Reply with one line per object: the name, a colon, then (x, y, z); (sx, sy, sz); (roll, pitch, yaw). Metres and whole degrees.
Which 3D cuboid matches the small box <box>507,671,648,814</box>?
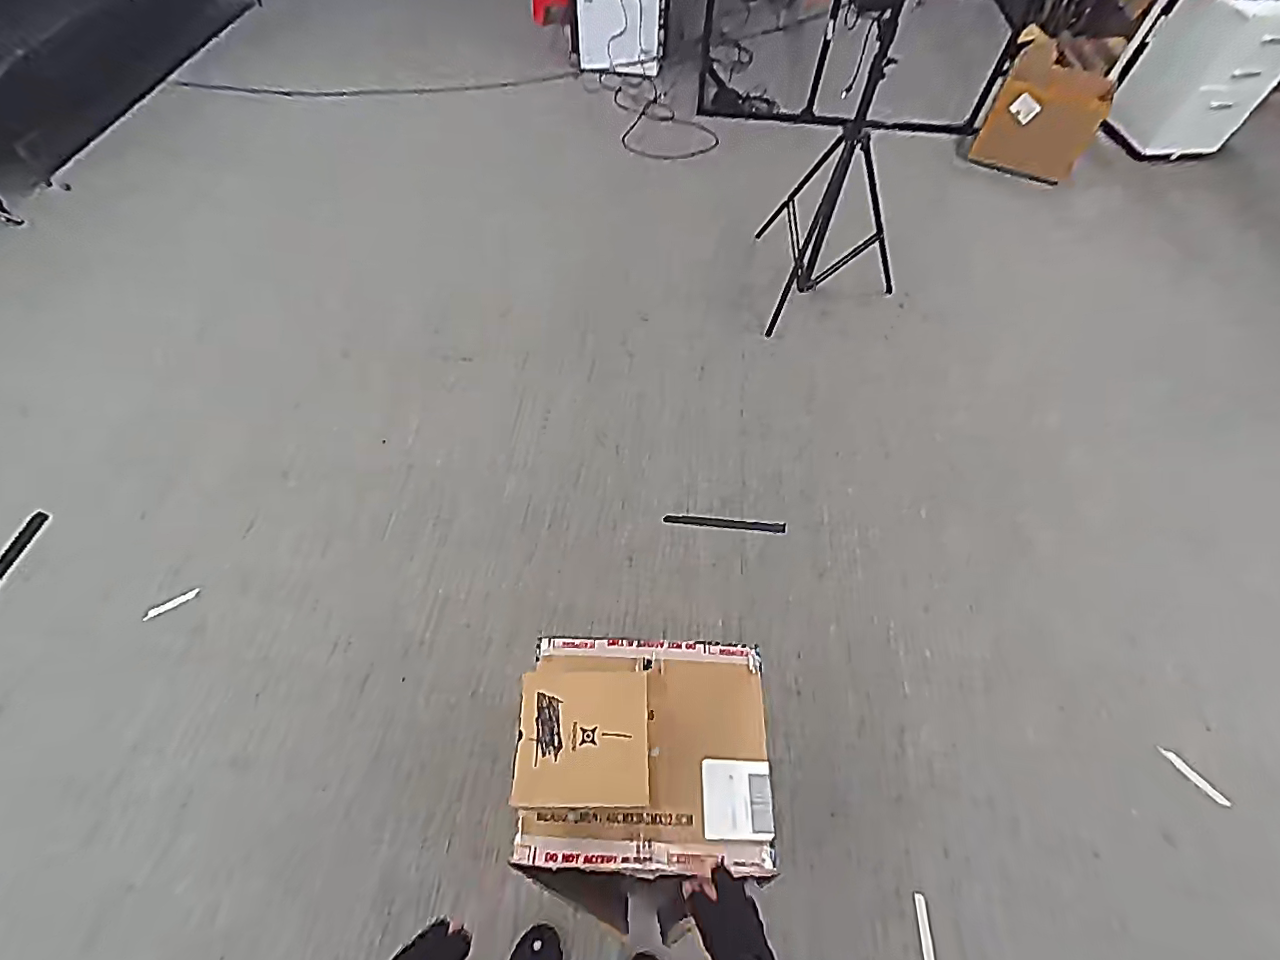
small box: (-0.078, 0.381, 0.778); (0.179, 0.176, 0.168); (0, 56, 0)
